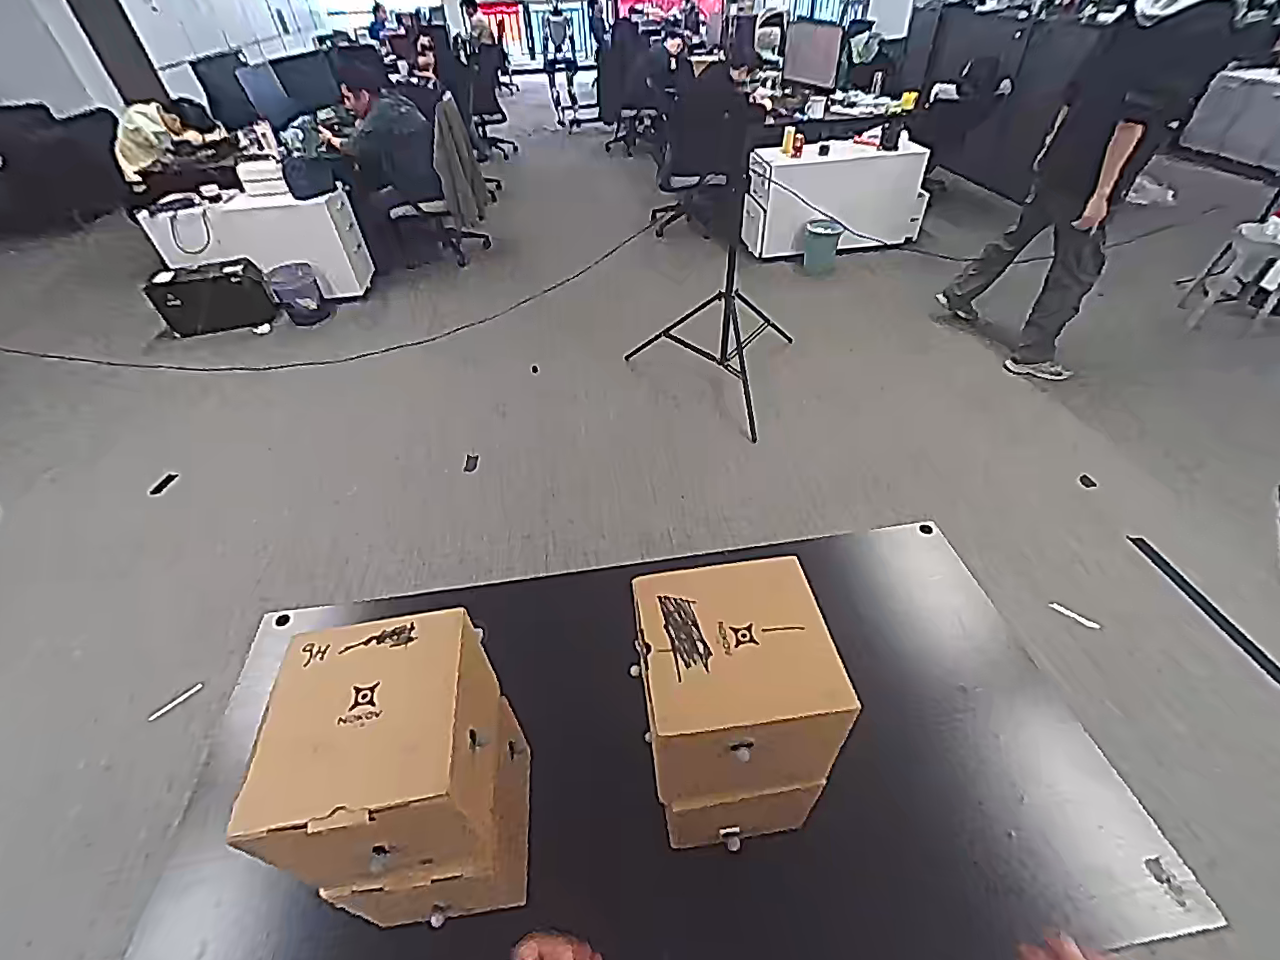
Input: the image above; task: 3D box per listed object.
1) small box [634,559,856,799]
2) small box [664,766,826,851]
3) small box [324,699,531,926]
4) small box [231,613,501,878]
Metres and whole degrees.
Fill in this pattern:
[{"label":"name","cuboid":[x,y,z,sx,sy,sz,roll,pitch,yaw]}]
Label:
[{"label":"small box","cuboid":[0.093,0.207,0.559,0.179,0.176,0.168,-7,43,-3]},{"label":"small box","cuboid":[0.106,0.327,0.671,0.168,0.176,0.179,-9,44,-4]},{"label":"small box","cuboid":[-0.224,0.383,0.627,0.168,0.176,0.179,-7,43,-3]},{"label":"small box","cuboid":[-0.234,0.258,0.521,0.168,0.176,0.179,-8,44,-6]}]
